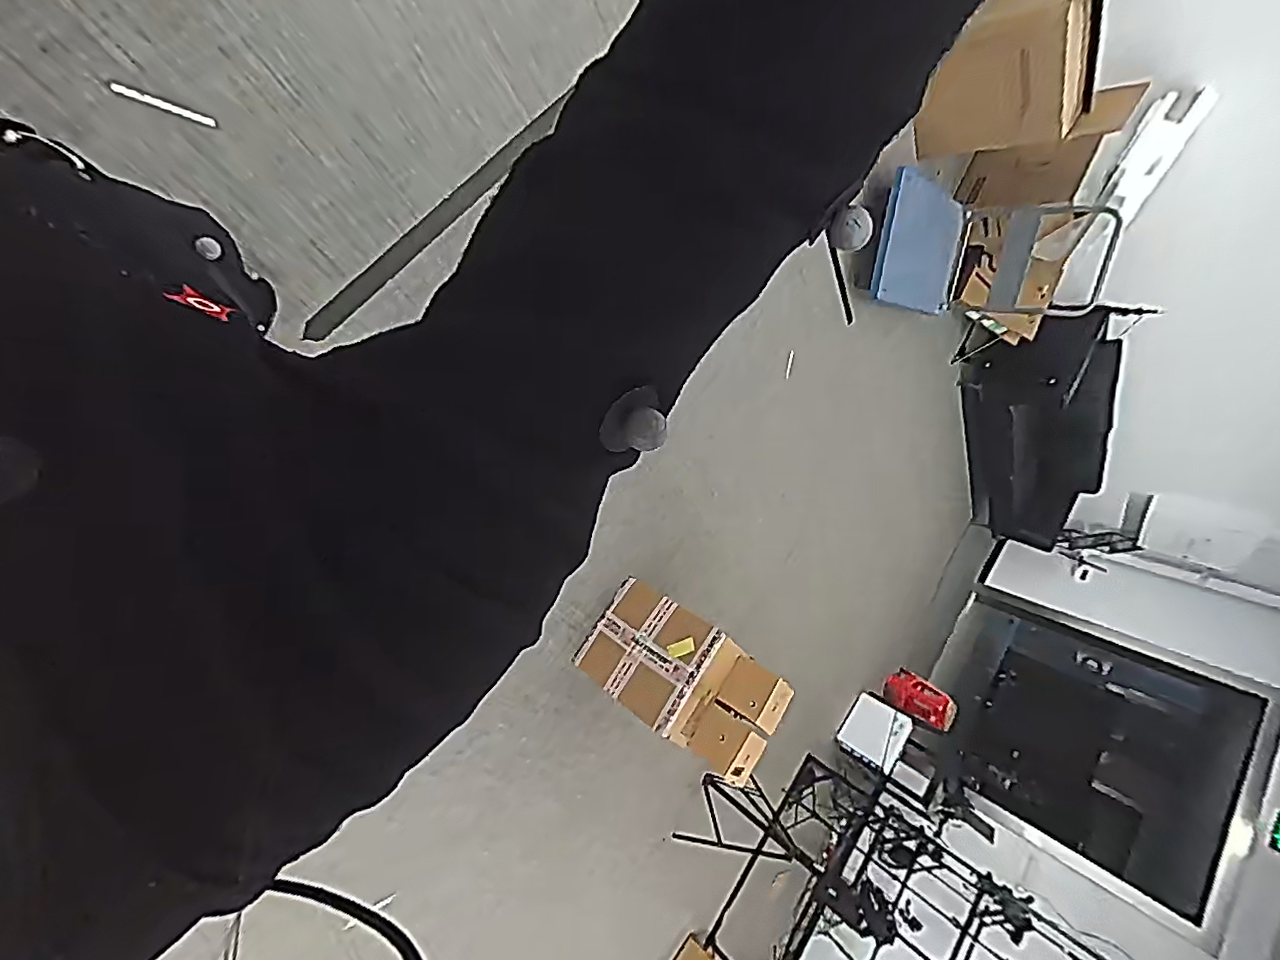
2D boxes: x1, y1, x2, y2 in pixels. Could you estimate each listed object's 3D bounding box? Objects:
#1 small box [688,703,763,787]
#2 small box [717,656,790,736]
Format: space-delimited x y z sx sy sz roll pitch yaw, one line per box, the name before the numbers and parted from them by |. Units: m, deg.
small box | 0.286 0.907 1.855 0.179 0.176 0.168 -54 133 -15
small box | 0.392 0.755 1.901 0.179 0.176 0.168 -55 134 -17
